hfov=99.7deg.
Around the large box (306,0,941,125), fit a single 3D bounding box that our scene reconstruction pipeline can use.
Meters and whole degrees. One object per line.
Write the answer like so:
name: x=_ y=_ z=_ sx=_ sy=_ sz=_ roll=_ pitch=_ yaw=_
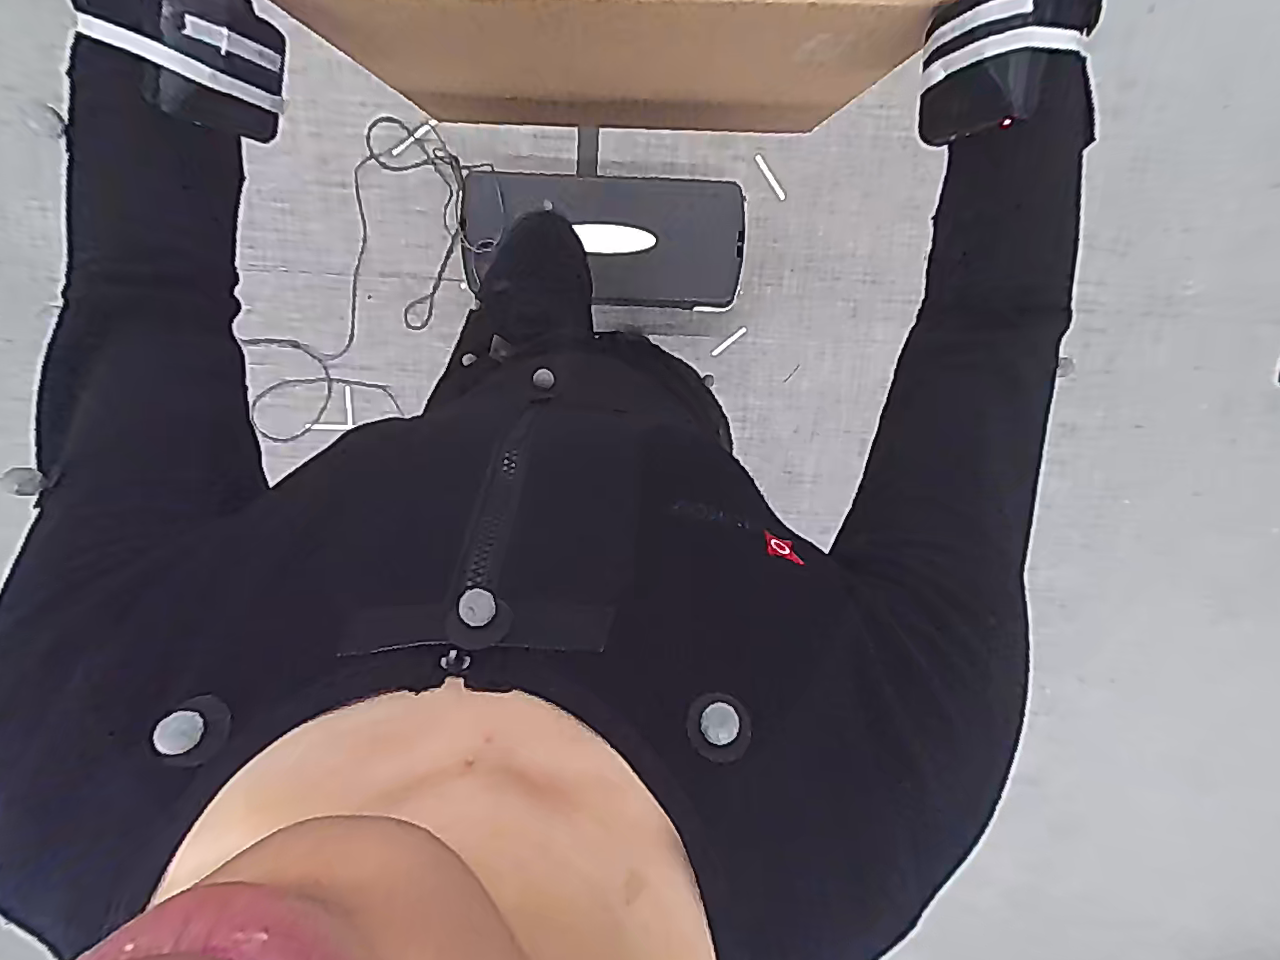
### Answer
large box: x=-0.012 y=-0.474 z=0.390 sx=0.408 sy=0.320 sz=0.320 roll=0 pitch=112 yaw=-1
